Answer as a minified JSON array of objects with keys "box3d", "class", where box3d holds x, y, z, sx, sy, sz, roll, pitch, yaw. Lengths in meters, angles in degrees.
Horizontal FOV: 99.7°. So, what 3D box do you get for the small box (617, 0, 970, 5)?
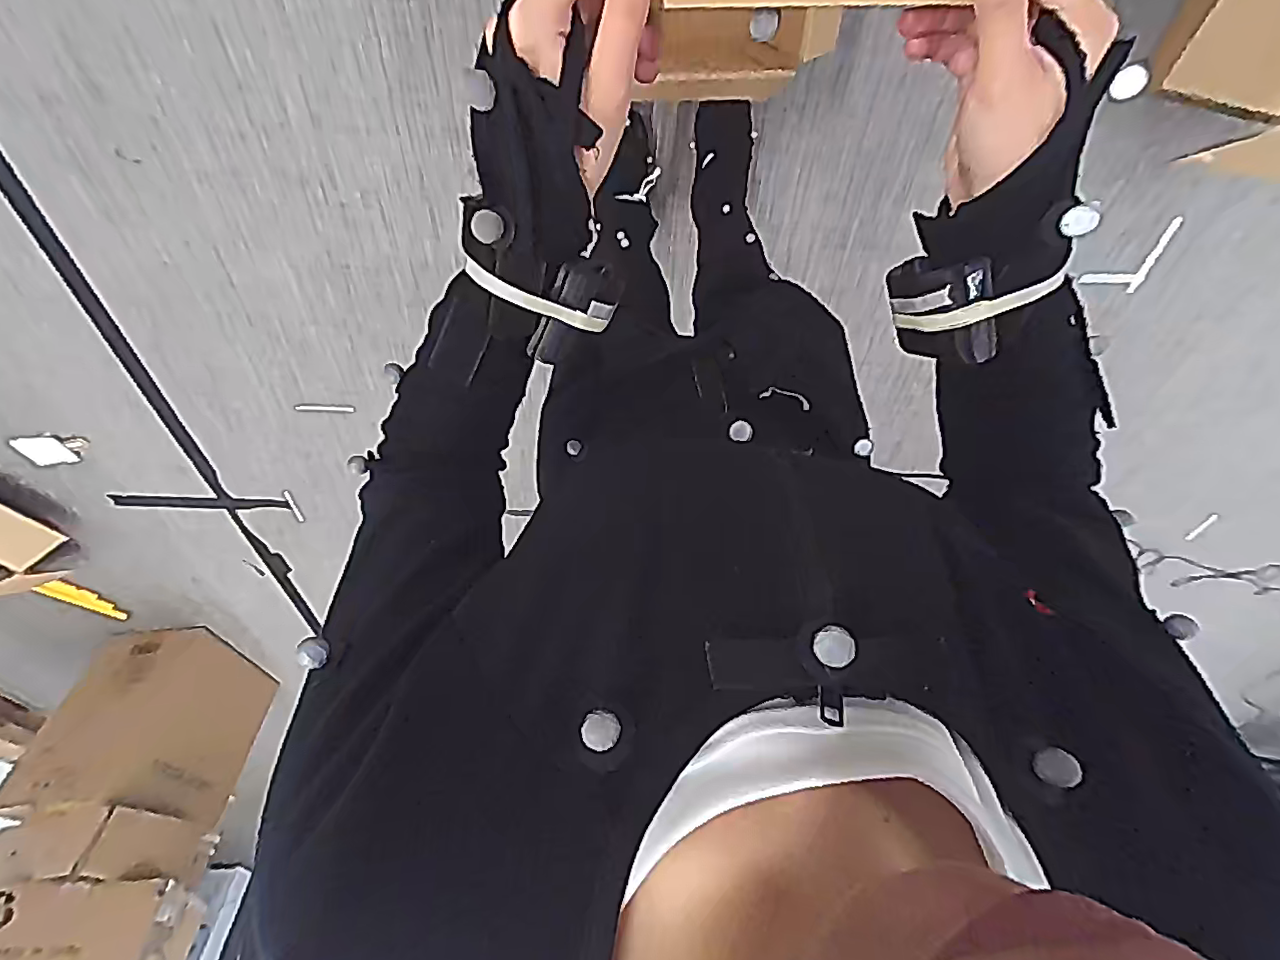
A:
[{"box3d":[0.070,-0.331,0.237,0.179,0.176,0.168,-2,138,-2],"class":"small box"}]
